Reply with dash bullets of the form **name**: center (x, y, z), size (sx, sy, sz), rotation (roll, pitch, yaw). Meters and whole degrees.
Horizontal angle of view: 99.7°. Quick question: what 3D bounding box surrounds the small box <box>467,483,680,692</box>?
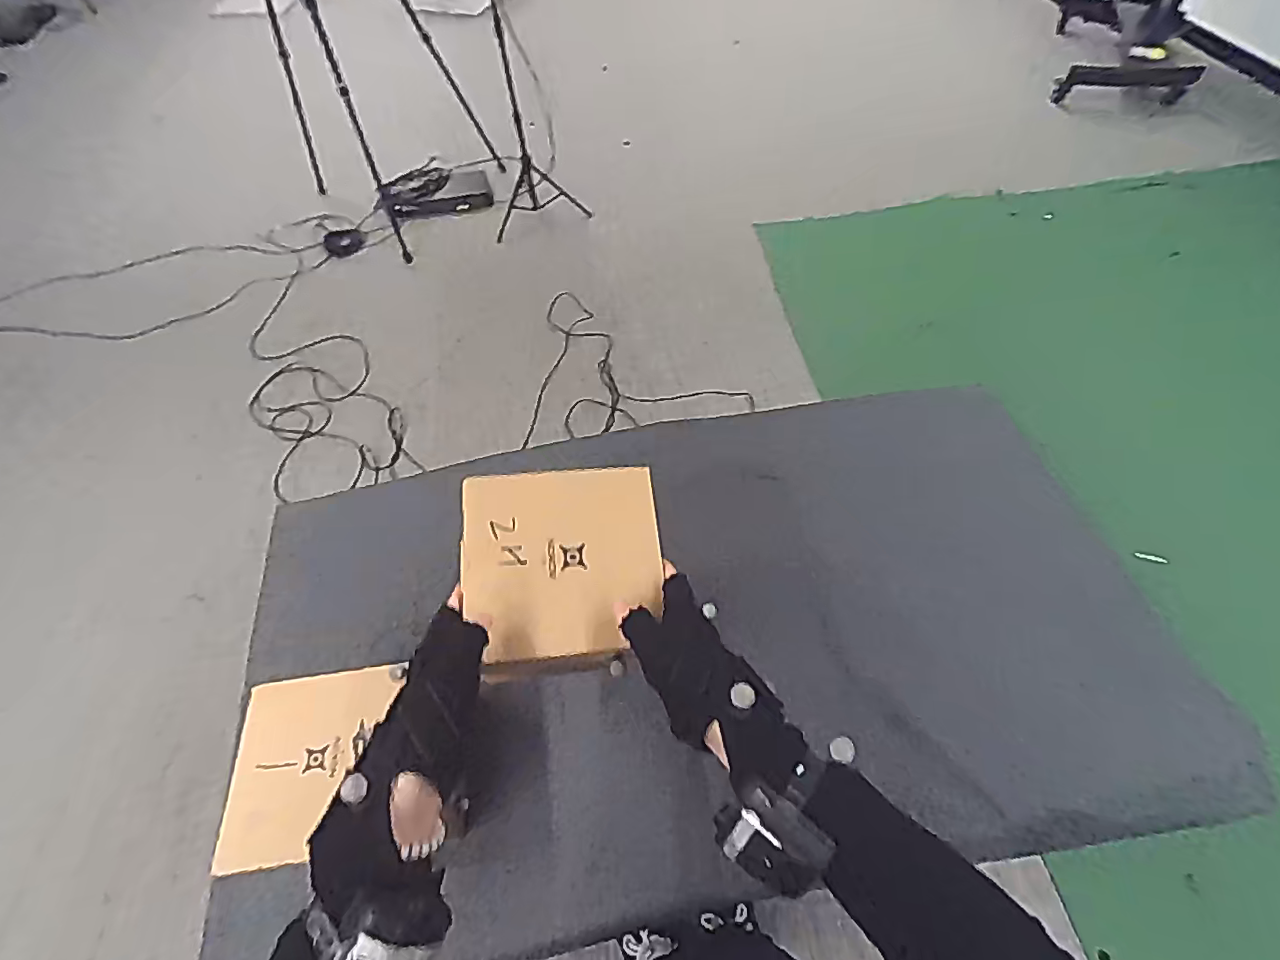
- **small box**: center (-0.069, 0.113, 0.542), size (0.179, 0.176, 0.168), rotation (-3, 65, -8)

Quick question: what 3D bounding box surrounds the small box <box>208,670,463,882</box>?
- **small box**: center (-0.303, 0.319, 0.589), size (0.179, 0.176, 0.168), rotation (-8, 57, -2)
